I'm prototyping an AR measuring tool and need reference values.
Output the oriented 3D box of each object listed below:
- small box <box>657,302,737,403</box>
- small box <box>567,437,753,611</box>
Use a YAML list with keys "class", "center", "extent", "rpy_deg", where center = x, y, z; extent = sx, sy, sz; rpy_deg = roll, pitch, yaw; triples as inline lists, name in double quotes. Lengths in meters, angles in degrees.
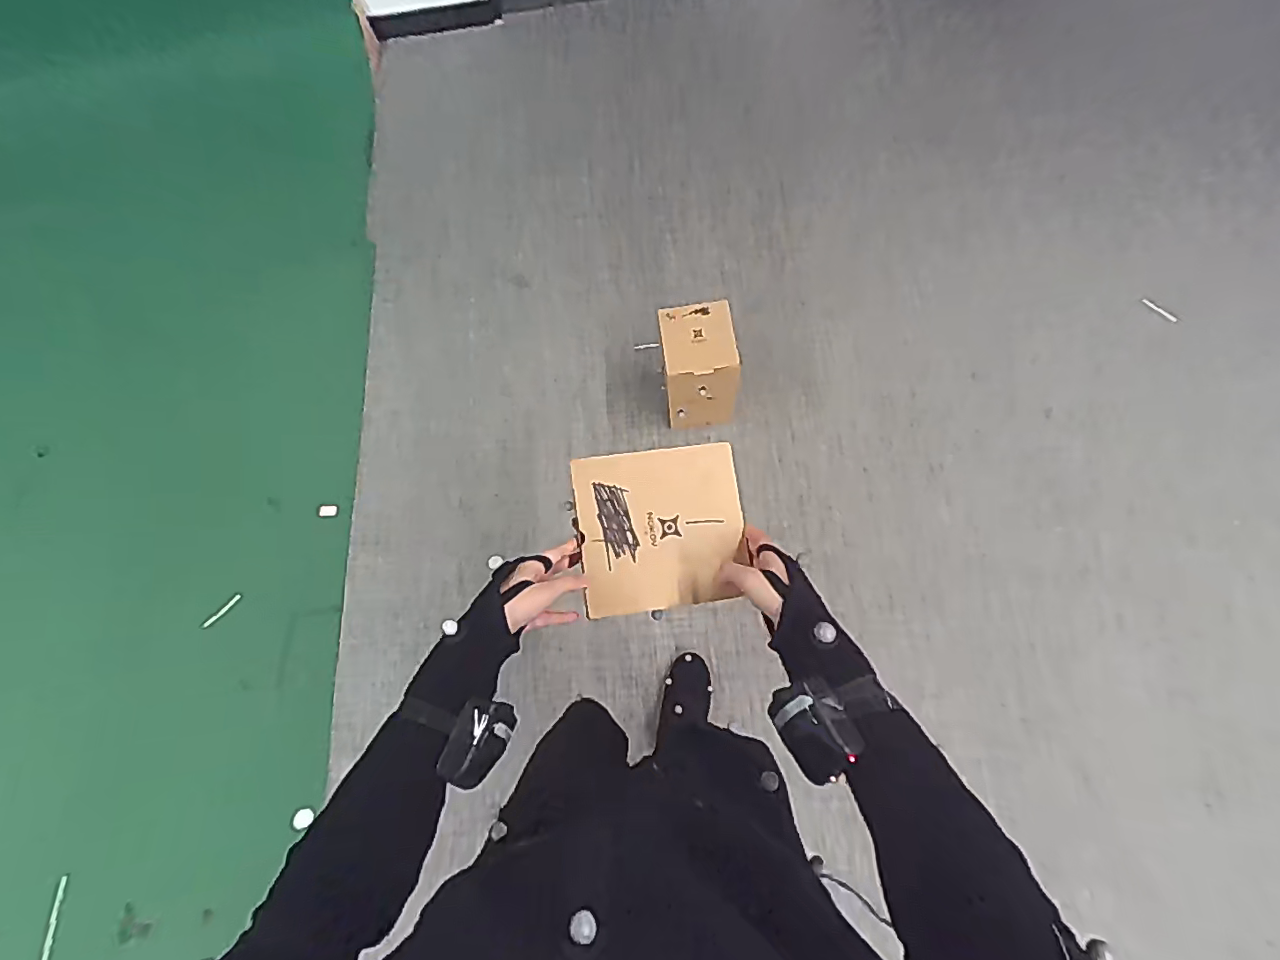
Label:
- class: "small box"
  center: [0.135, -0.296, 1.296]
  extent: [0.168, 0.176, 0.179]
  rpy_deg: [-7, 73, 2]
- class: "small box"
  center: [0.014, 0.057, 0.632]
  extent: [0.179, 0.176, 0.168]
  rpy_deg: [-7, 81, -7]
